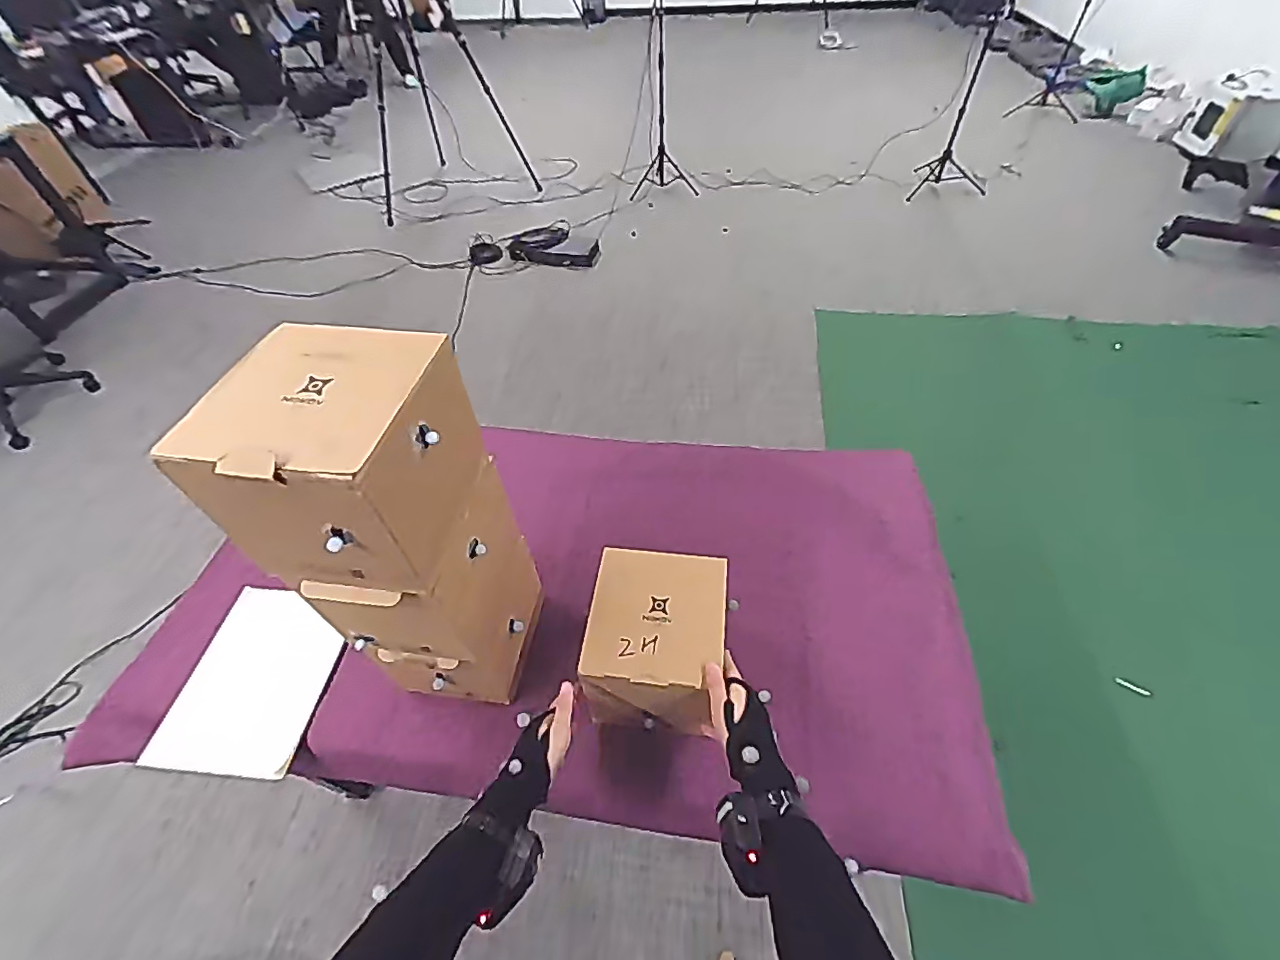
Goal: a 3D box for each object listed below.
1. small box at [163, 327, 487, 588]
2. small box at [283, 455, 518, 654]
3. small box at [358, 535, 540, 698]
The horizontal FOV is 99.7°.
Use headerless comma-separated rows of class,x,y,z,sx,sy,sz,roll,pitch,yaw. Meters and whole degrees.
small box,-0.260,-0.019,0.505,0.168,0.176,0.179,6,49,7
small box,-0.254,0.084,0.631,0.168,0.176,0.179,5,49,7
small box,-0.249,0.188,0.760,0.168,0.176,0.179,5,50,7
